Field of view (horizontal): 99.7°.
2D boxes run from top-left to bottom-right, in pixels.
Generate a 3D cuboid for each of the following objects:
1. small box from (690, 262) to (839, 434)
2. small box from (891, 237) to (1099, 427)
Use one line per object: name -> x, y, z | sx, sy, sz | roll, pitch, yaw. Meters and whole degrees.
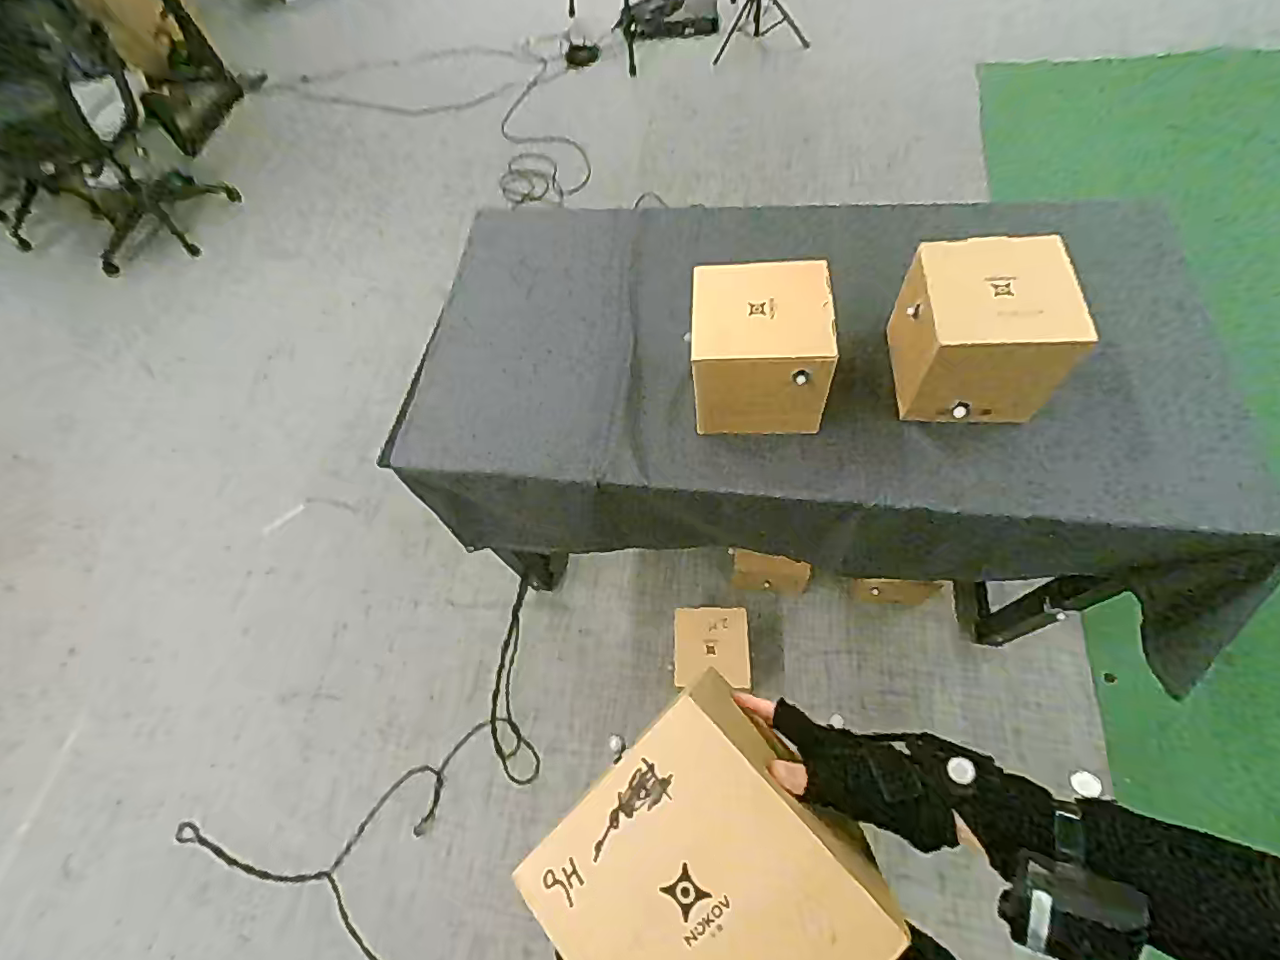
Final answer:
small box -> 0.163, -0.174, 0.748 | 0.179, 0.176, 0.168 | 0, 62, 8
small box -> 0.444, -0.190, 0.713 | 0.168, 0.176, 0.179 | 1, 63, 10
